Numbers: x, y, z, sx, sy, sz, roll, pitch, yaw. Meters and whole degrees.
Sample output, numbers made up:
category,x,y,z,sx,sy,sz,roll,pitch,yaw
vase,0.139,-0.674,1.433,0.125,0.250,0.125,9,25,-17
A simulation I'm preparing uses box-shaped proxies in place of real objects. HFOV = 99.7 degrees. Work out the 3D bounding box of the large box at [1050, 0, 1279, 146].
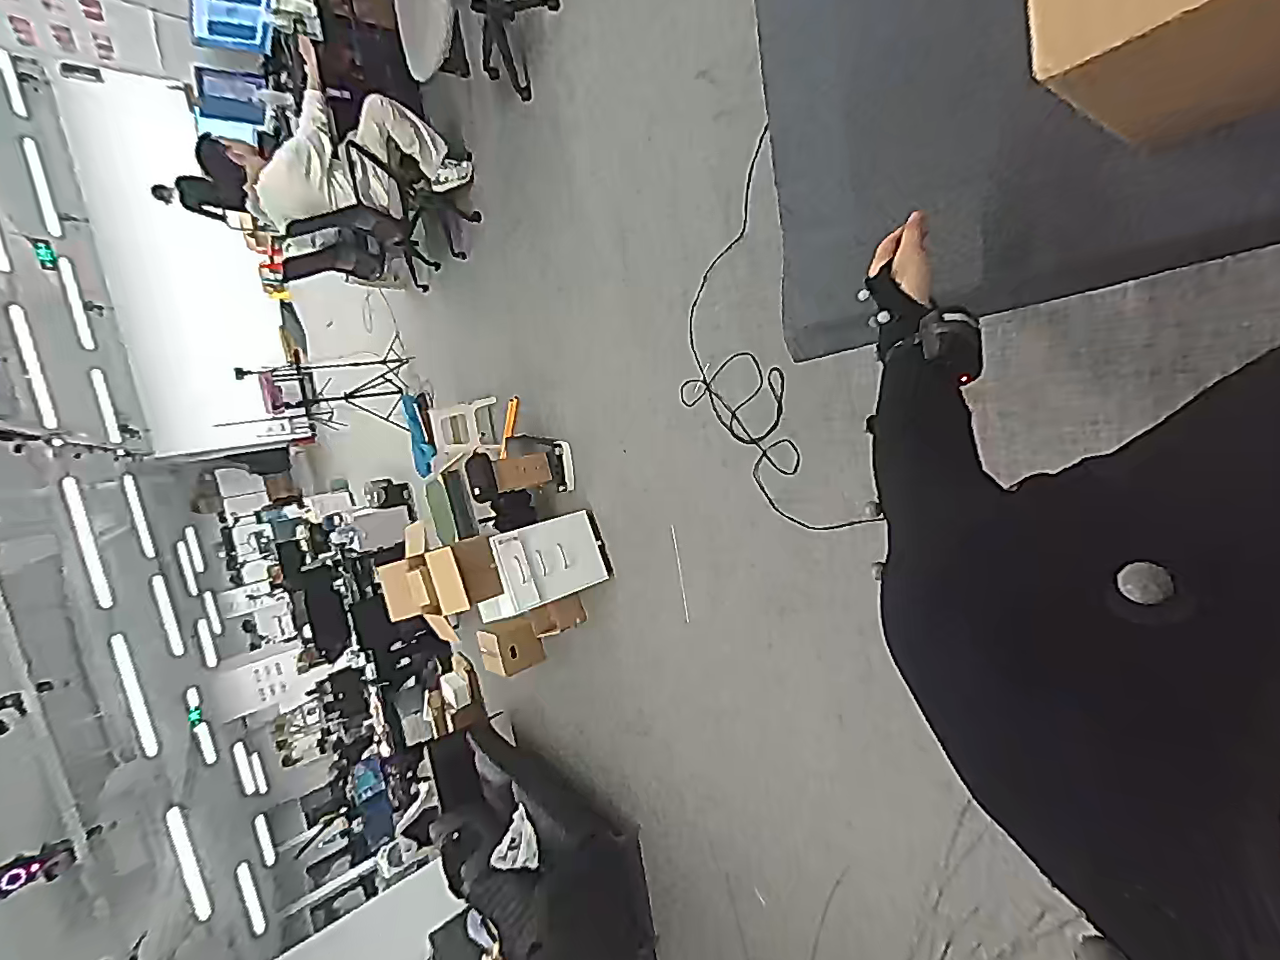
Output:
category,x,y,z,sx,sy,sz,roll,pitch,yaw
large box,0.501,-0.462,0.296,0.408,0.320,0.320,-1,101,52
